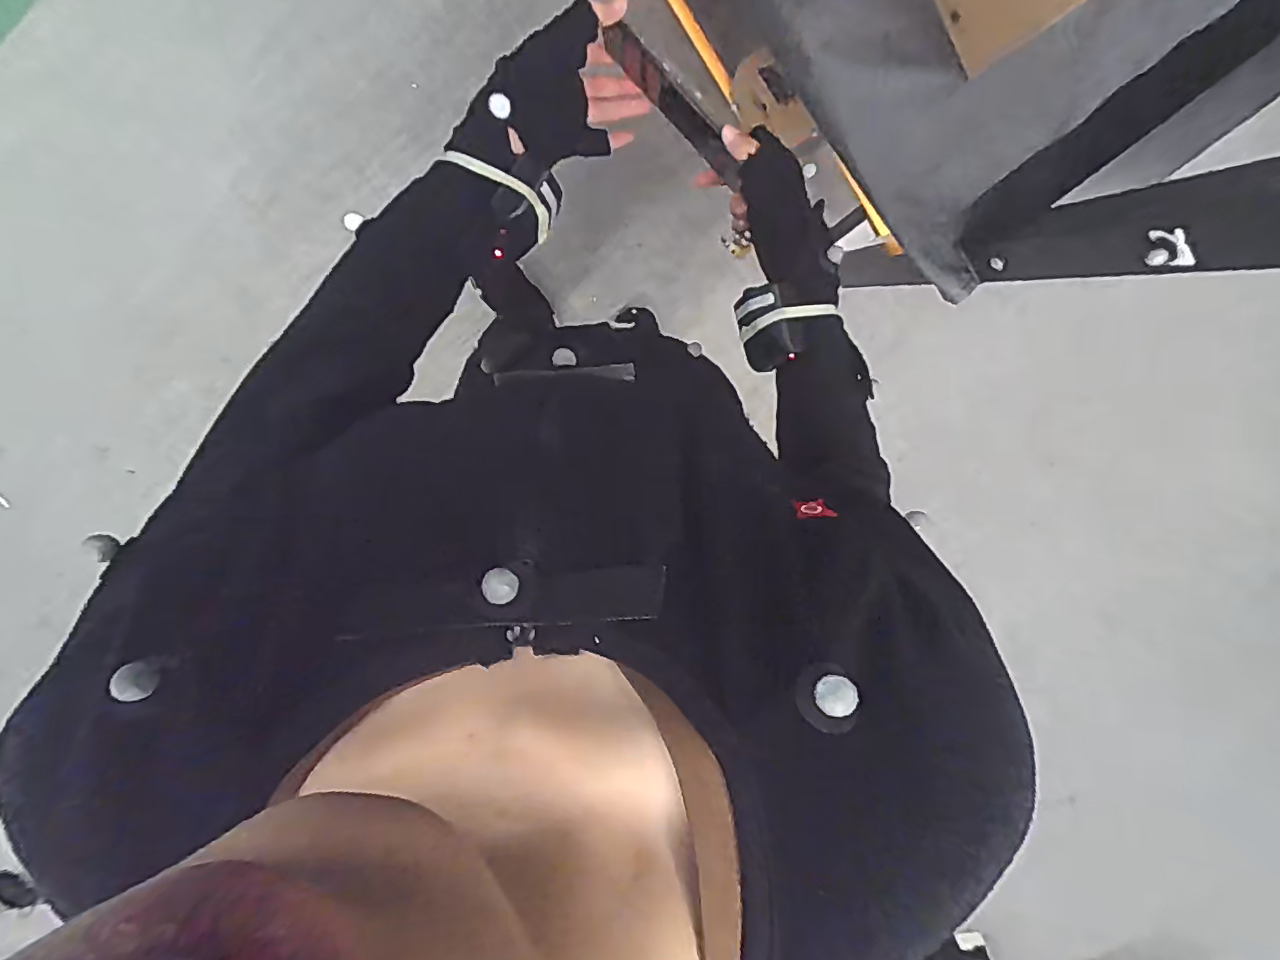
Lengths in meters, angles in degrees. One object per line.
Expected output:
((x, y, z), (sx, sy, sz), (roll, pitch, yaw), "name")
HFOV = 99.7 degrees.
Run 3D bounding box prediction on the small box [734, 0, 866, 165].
((0.296, -0.749, 1.045), (0.179, 0.176, 0.168), (-32, 105, 11), "small box")
